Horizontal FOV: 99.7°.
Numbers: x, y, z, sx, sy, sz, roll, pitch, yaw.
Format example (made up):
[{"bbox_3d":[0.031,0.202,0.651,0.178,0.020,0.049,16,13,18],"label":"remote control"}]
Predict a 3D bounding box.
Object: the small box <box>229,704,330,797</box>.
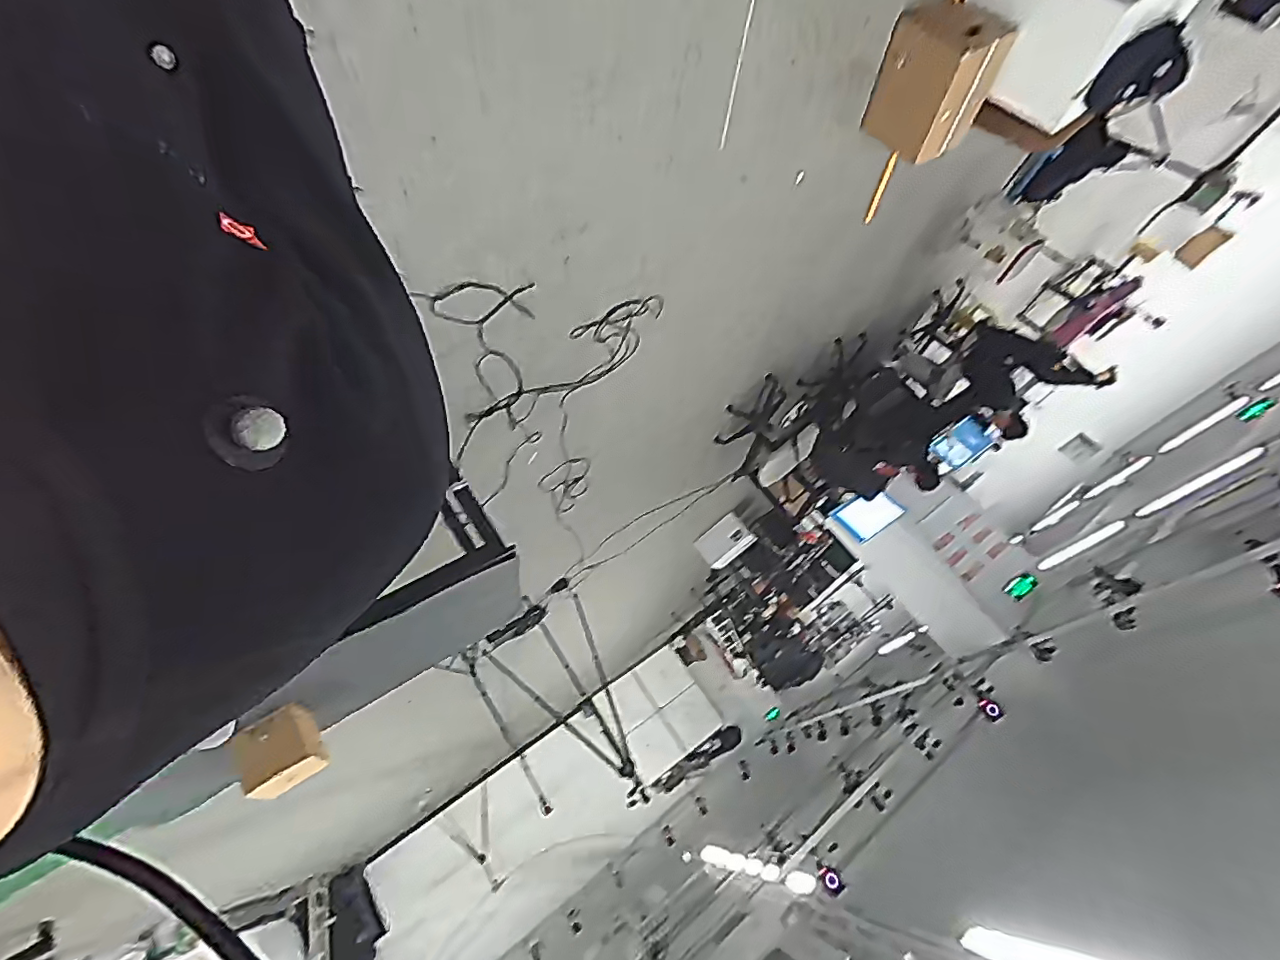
[{"bbox_3d":[-1.012,0.760,1.524,0.168,0.176,0.179,-27,155,-25],"label":"small box"}]
